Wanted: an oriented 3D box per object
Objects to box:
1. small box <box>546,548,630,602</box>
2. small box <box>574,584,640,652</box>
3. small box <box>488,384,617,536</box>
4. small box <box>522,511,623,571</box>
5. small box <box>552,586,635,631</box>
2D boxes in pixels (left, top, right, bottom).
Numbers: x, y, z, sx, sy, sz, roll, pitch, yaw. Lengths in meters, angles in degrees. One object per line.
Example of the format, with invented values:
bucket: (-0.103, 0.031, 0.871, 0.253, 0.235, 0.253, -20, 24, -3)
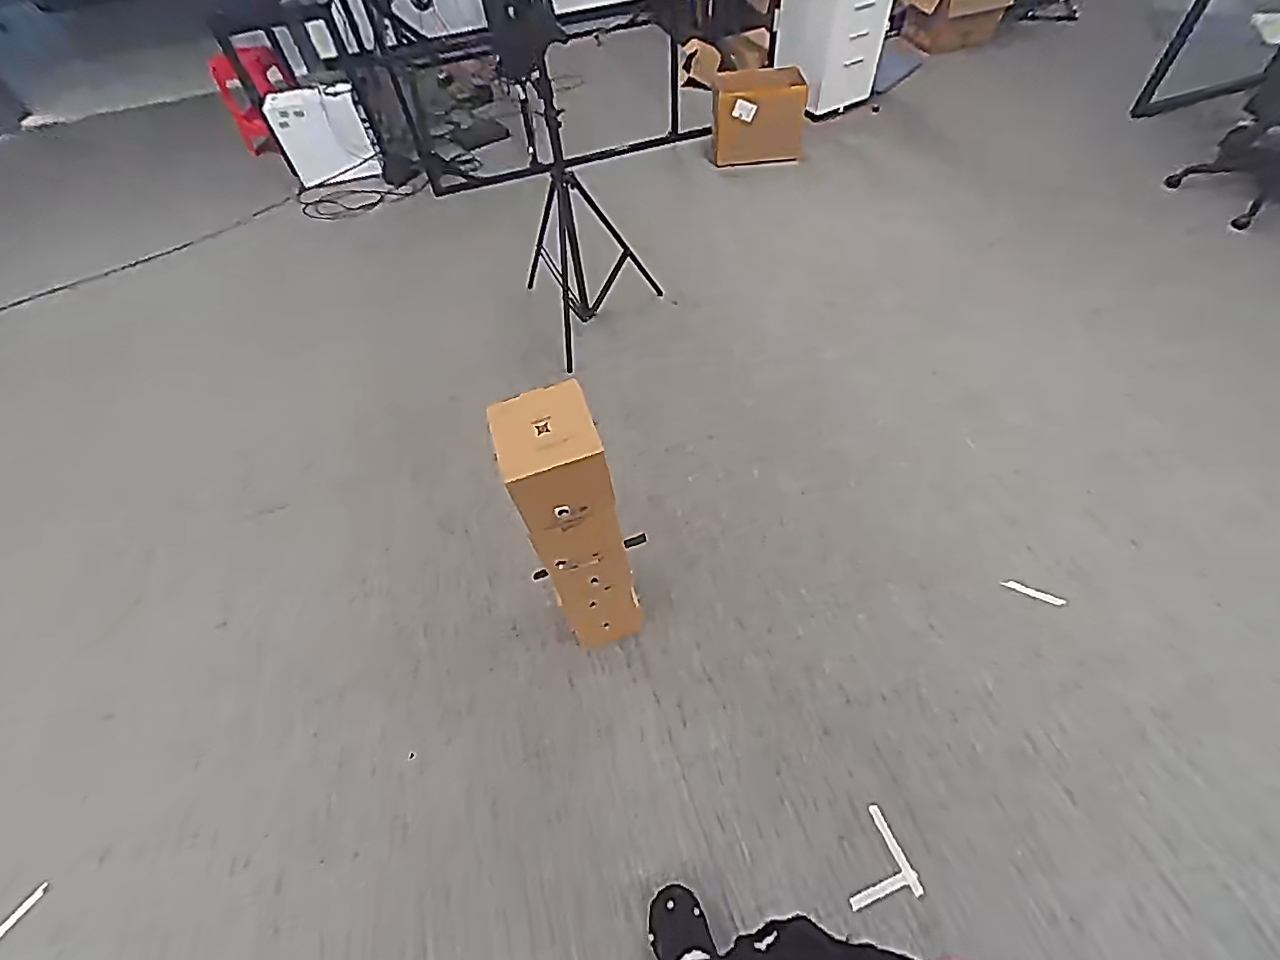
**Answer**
small box: (-0.124, 0.157, 1.209, 0.168, 0.176, 0.179, -16, 56, -6)
small box: (-0.103, 0.345, 1.477, 0.179, 0.176, 0.168, -18, 56, -7)
small box: (-0.149, -0.032, 0.944, 0.168, 0.176, 0.179, -19, 57, -7)
small box: (-0.139, 0.062, 1.076, 0.168, 0.176, 0.179, -17, 55, -7)
small box: (-0.120, 0.256, 1.340, 0.179, 0.176, 0.168, -16, 56, -6)
